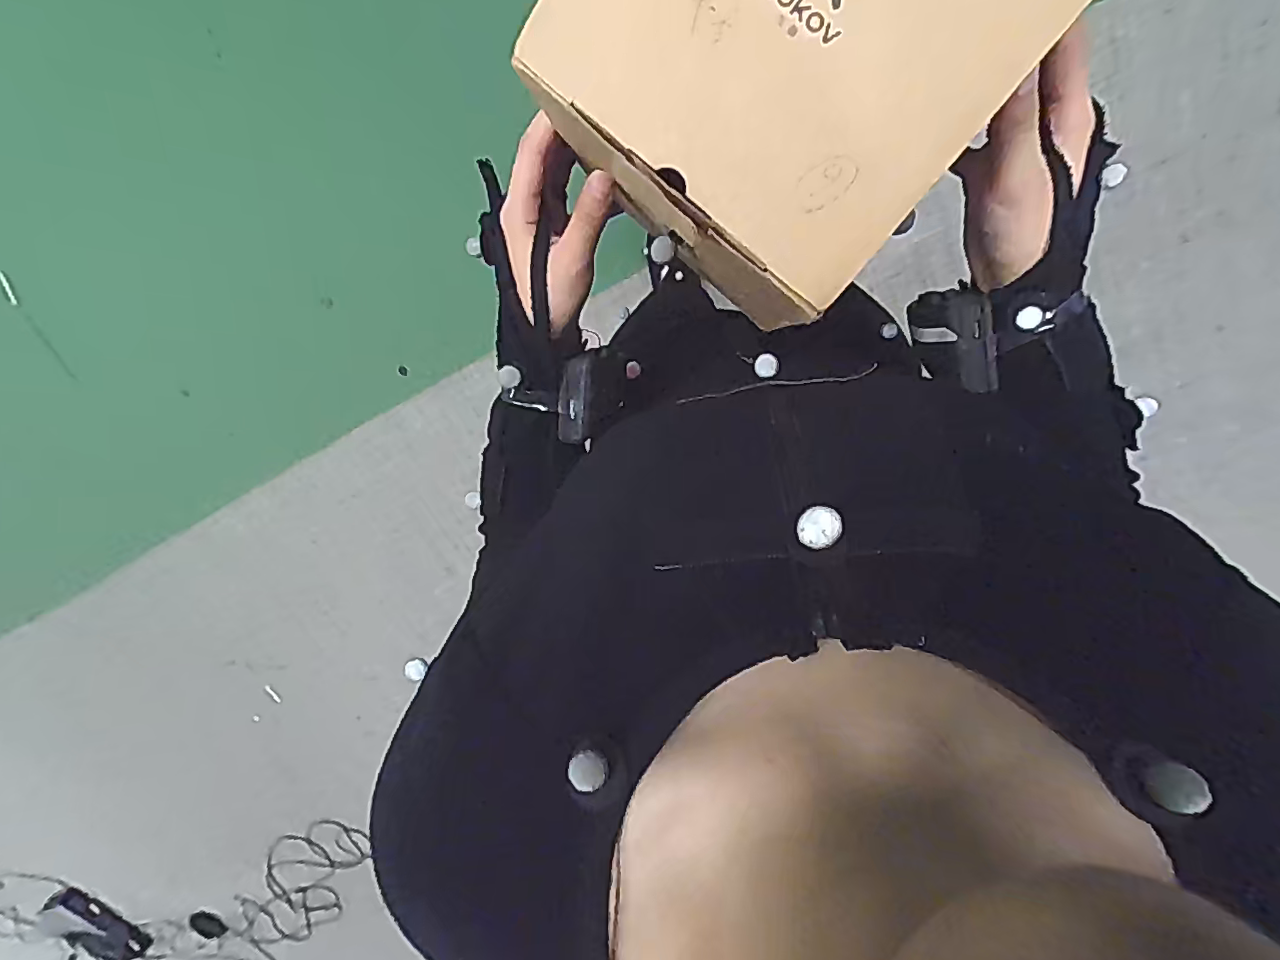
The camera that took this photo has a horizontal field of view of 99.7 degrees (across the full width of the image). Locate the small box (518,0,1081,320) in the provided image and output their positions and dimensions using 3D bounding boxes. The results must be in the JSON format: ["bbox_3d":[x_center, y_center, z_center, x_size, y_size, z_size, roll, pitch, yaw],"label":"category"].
[{"bbox_3d":[0.072,-0.202,0.286,0.168,0.176,0.179,39,106,-3],"label":"small box"}]
